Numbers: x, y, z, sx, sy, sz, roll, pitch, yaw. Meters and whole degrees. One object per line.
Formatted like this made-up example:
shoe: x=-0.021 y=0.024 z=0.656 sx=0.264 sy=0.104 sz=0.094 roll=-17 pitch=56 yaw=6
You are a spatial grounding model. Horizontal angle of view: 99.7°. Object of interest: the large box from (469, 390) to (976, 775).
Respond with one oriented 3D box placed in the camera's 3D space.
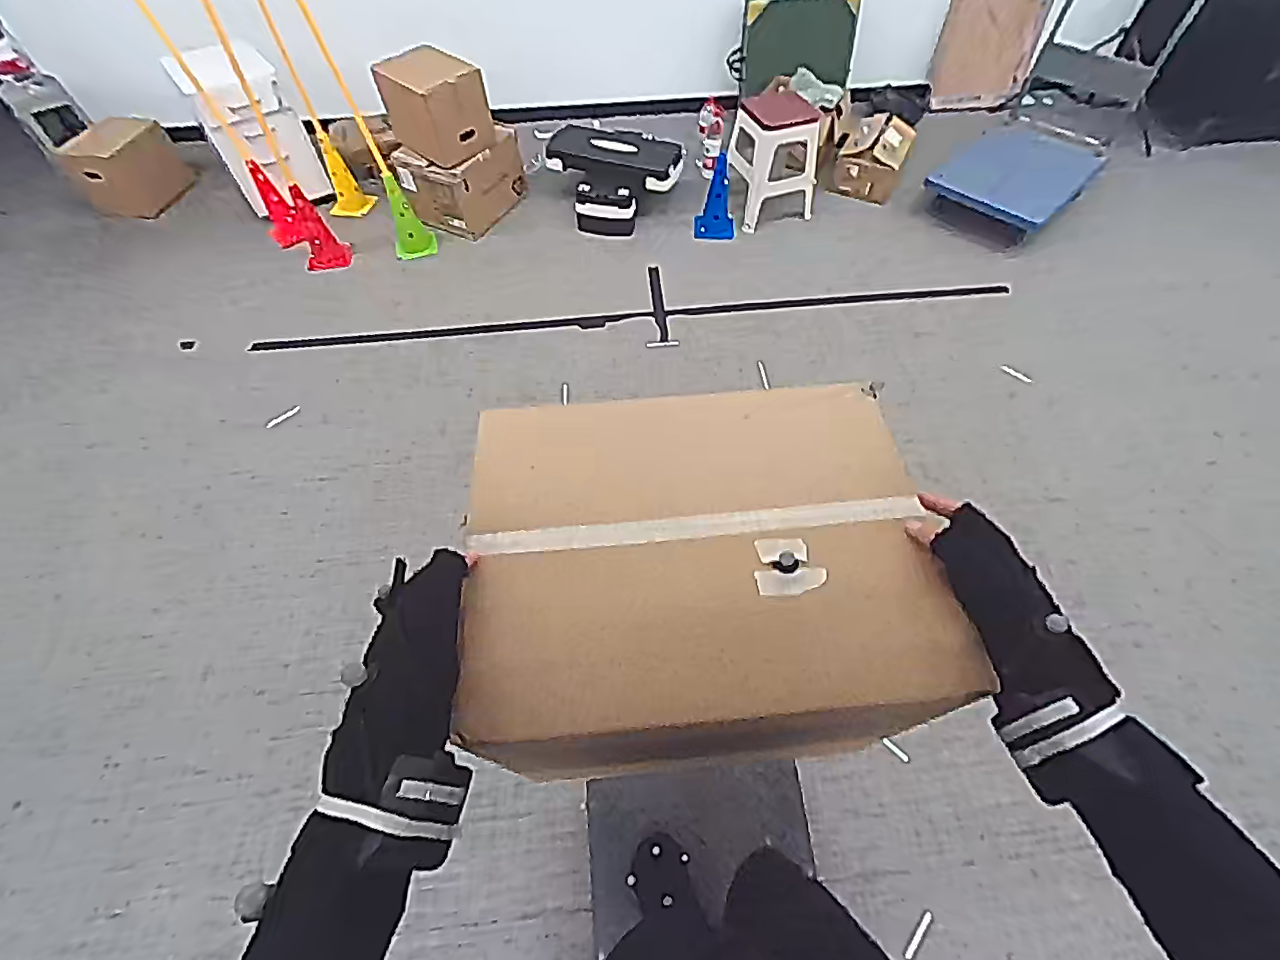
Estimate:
large box: x=0.053 y=0.128 z=0.616 sx=0.408 sy=0.320 sz=0.320 roll=-4 pitch=57 yaw=-2
